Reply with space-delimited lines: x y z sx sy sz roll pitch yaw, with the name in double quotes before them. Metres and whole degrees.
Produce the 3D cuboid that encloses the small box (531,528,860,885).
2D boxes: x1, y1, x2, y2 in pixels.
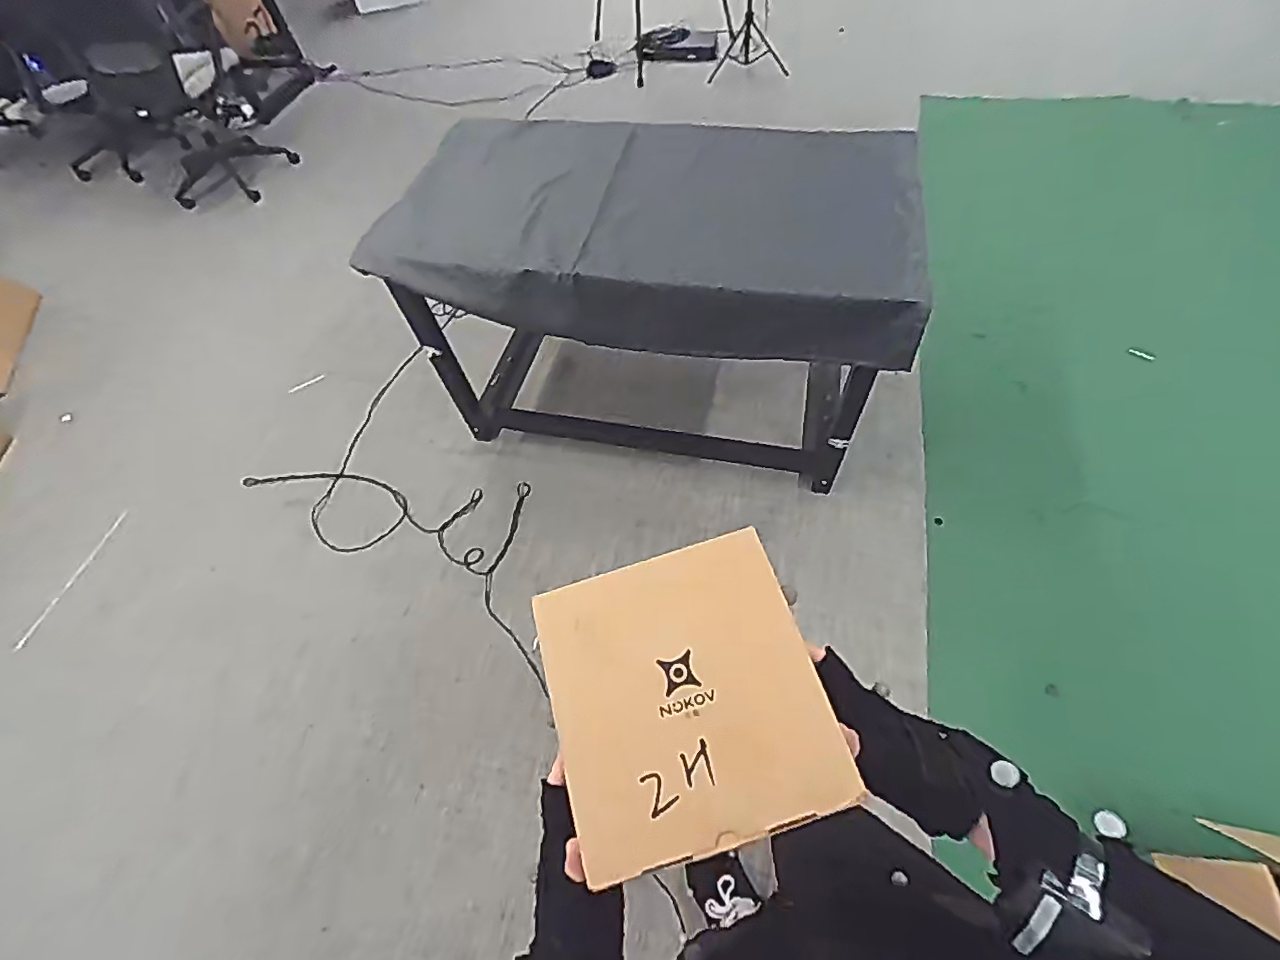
"small box" 0.033 0.164 0.406 0.168 0.176 0.179 -18 62 0
